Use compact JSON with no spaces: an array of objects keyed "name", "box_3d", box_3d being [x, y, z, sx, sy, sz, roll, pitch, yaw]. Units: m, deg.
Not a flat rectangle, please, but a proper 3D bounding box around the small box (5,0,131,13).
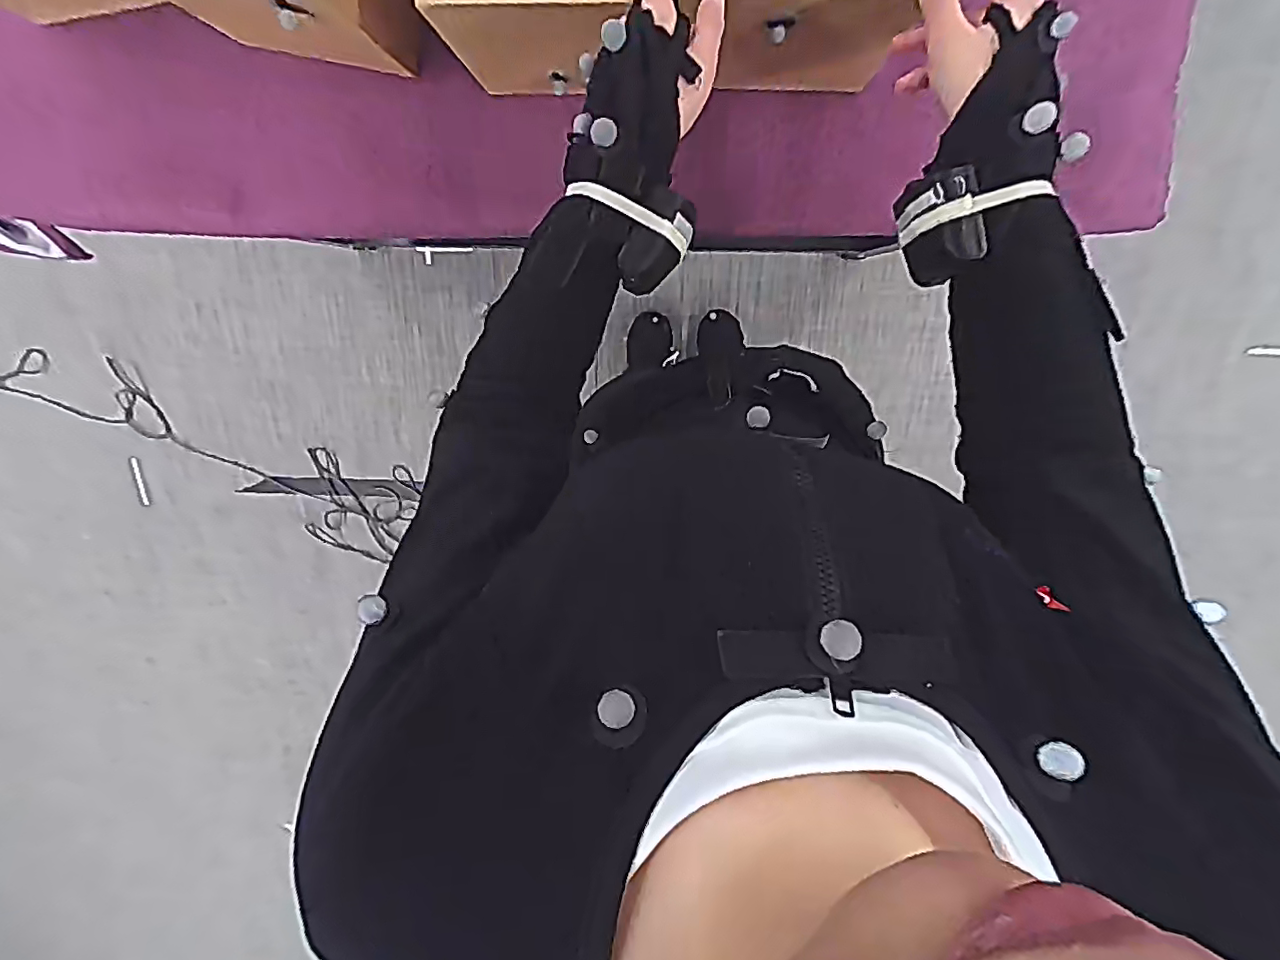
[{"name":"small box","box_3d":[-0.518,-0.507,0.420,0.168,0.176,0.179,-6,109,5]}]
